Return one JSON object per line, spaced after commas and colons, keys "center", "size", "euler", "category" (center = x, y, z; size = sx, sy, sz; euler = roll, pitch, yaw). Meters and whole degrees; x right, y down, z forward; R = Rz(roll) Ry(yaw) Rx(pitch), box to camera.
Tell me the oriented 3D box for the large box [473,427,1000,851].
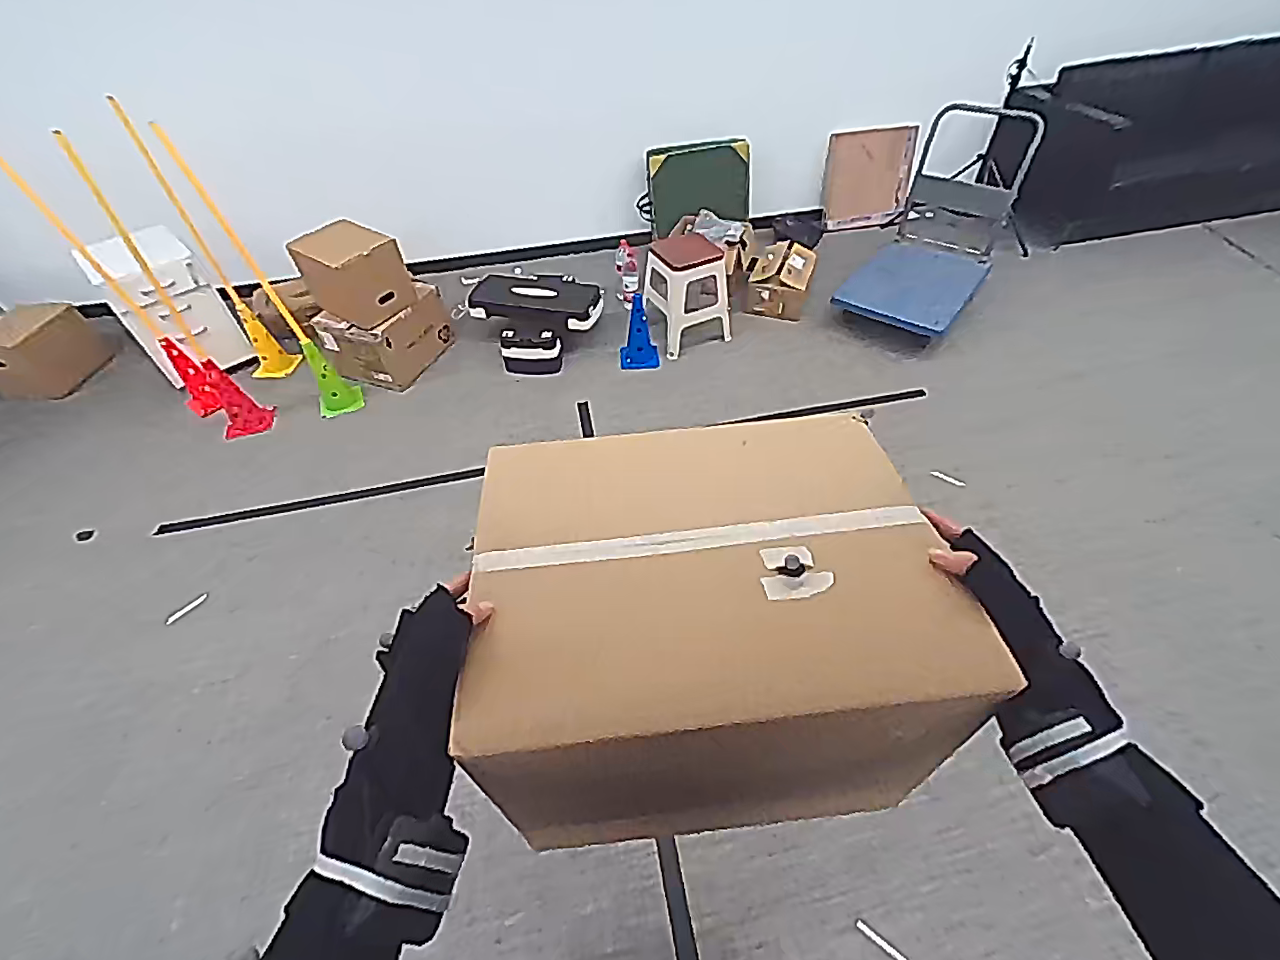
{"center": [0.064, 0.173, 0.601], "size": [0.408, 0.320, 0.320], "euler": [-6, 45, -2], "category": "large box"}
